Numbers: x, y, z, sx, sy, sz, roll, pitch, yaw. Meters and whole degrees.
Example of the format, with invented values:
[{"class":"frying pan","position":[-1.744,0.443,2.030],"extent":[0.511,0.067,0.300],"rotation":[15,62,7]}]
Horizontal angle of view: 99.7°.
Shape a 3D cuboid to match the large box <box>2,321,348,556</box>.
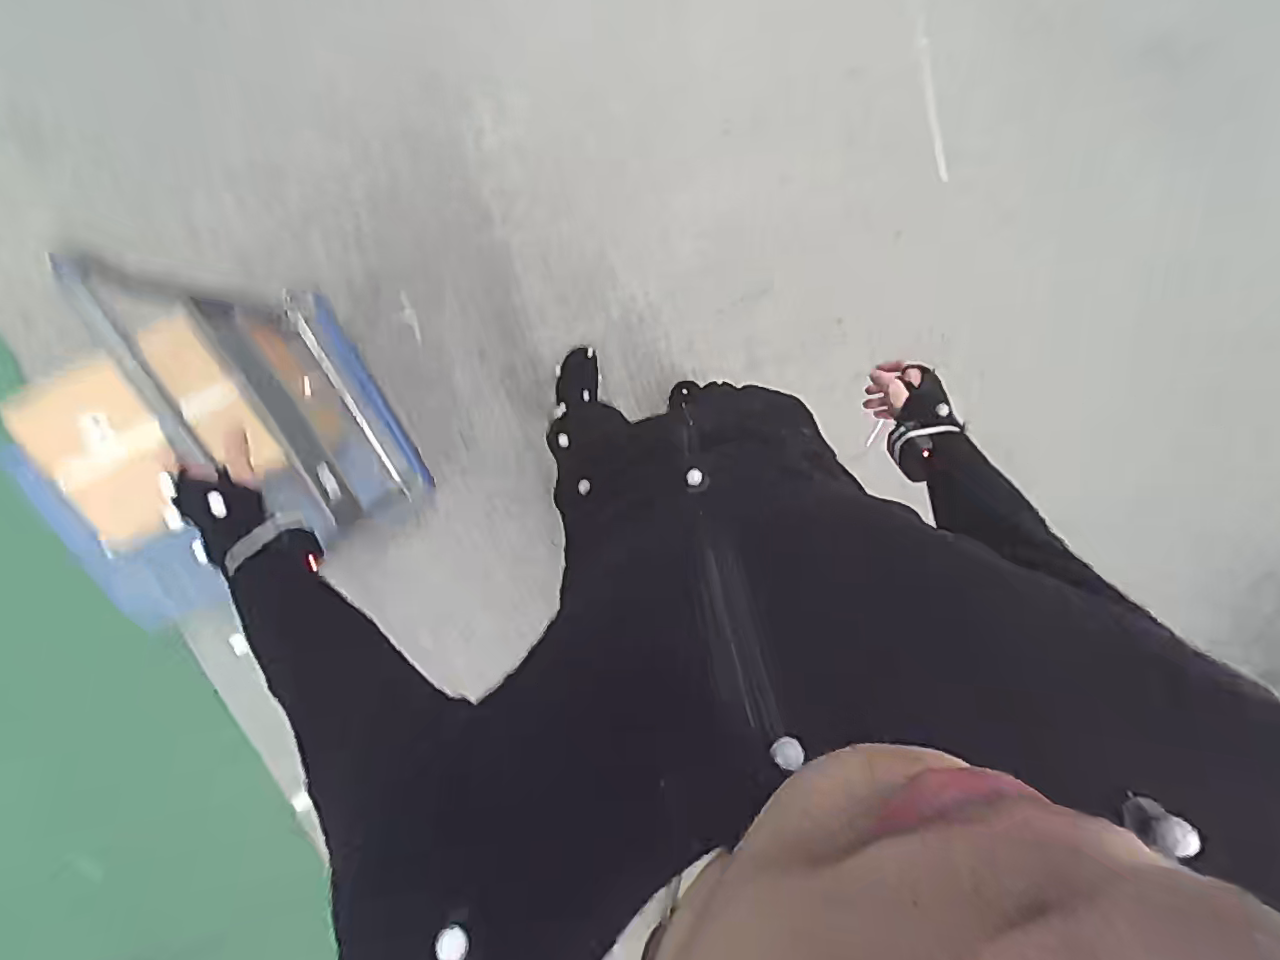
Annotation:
[{"class":"large box","position":[-0.949,-0.107,1.171],"extent":[0.408,0.320,0.320],"rotation":[-28,104,2]}]
